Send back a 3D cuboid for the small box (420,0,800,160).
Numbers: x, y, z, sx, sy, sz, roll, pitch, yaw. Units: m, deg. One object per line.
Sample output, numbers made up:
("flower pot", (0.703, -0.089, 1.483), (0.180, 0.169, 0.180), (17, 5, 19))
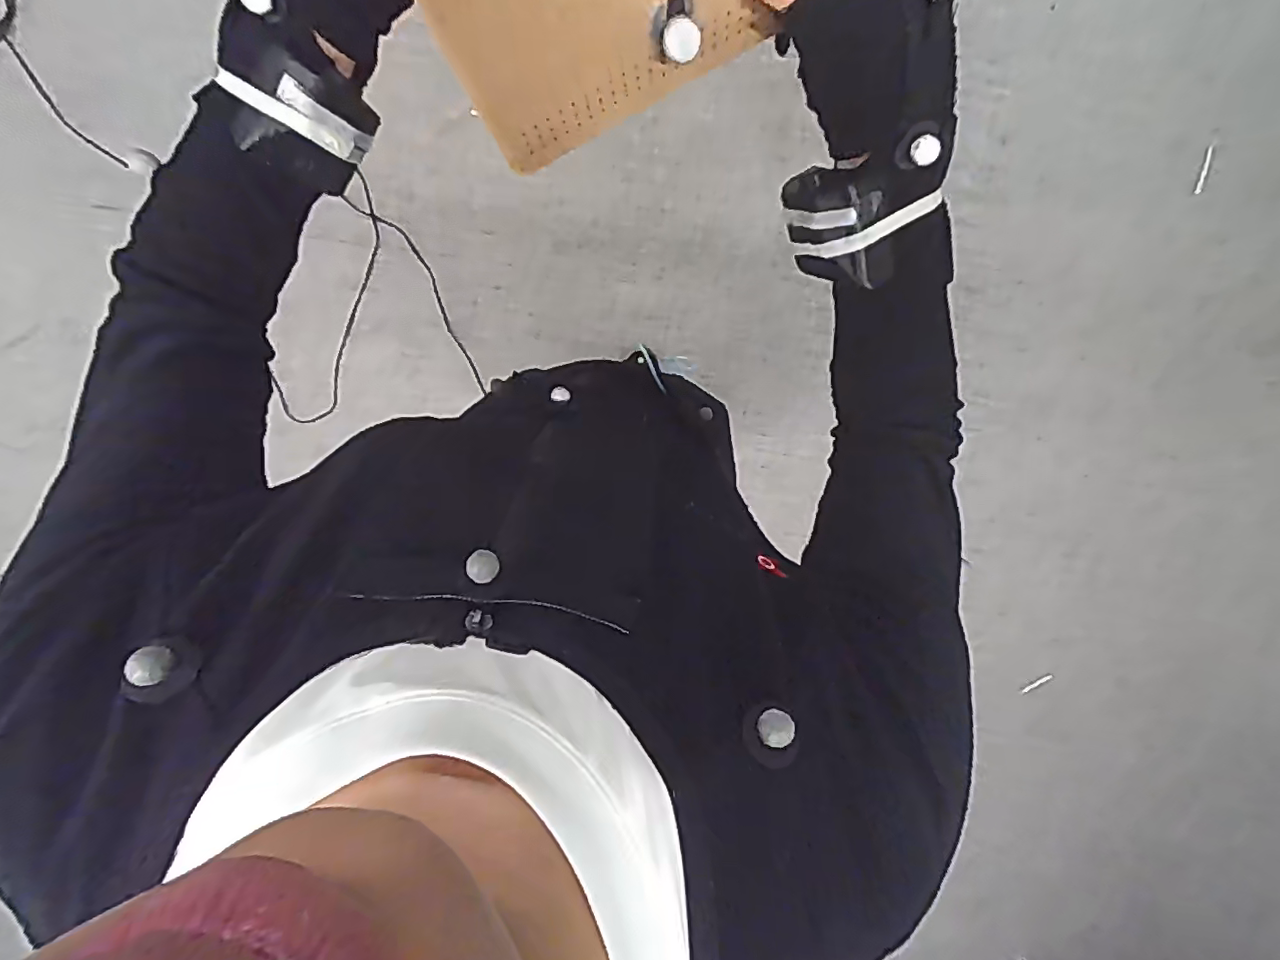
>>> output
("small box", (-0.025, -0.260, 0.181), (0.179, 0.176, 0.168), (-27, 87, 4))
